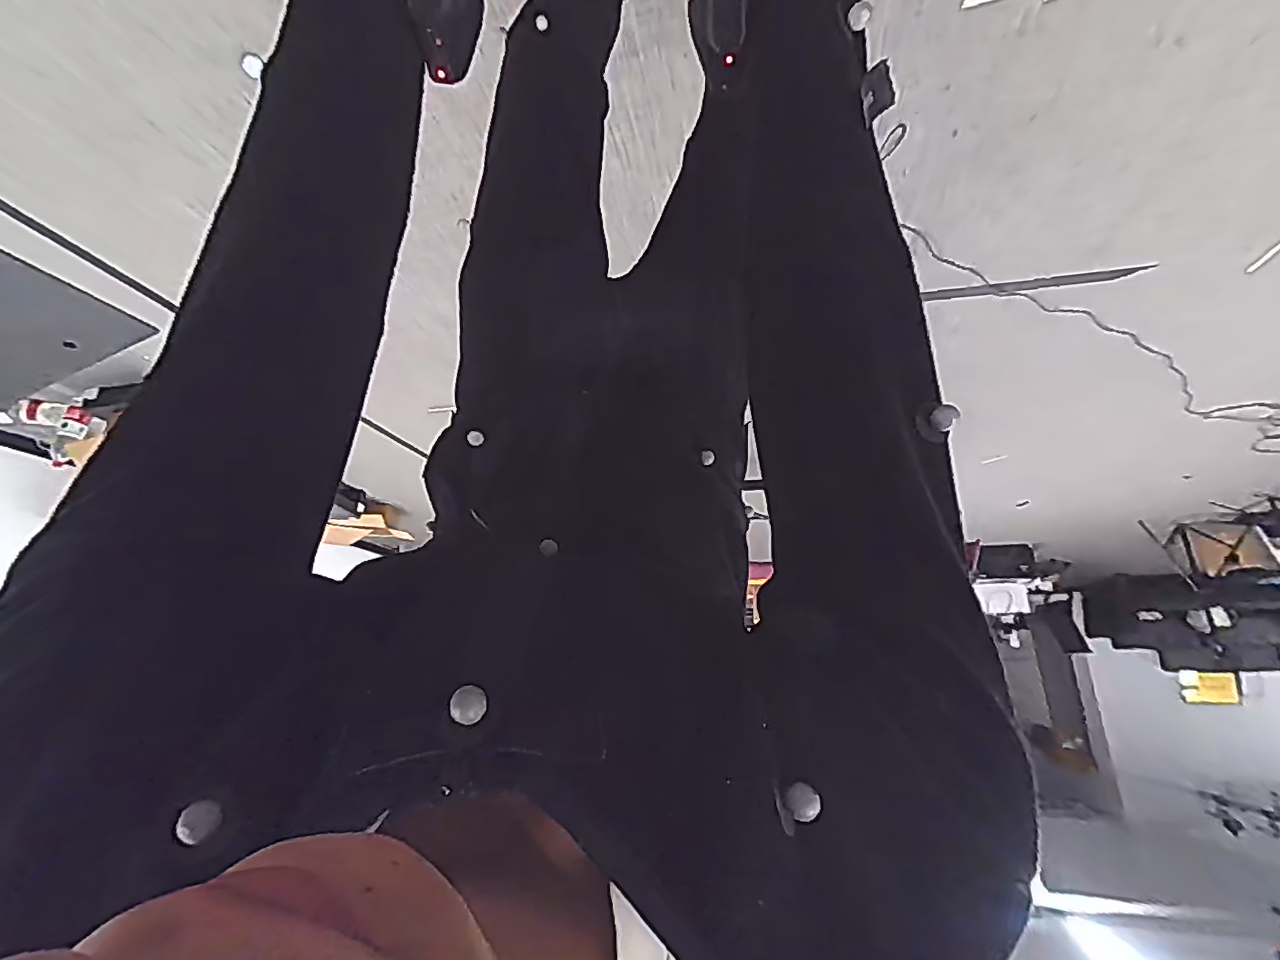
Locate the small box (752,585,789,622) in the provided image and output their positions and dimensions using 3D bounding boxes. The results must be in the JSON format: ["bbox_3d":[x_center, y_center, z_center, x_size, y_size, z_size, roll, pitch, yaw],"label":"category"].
[{"bbox_3d":[0.669,0.635,2.779,0.179,0.176,0.168,-4,160,11],"label":"small box"}]
